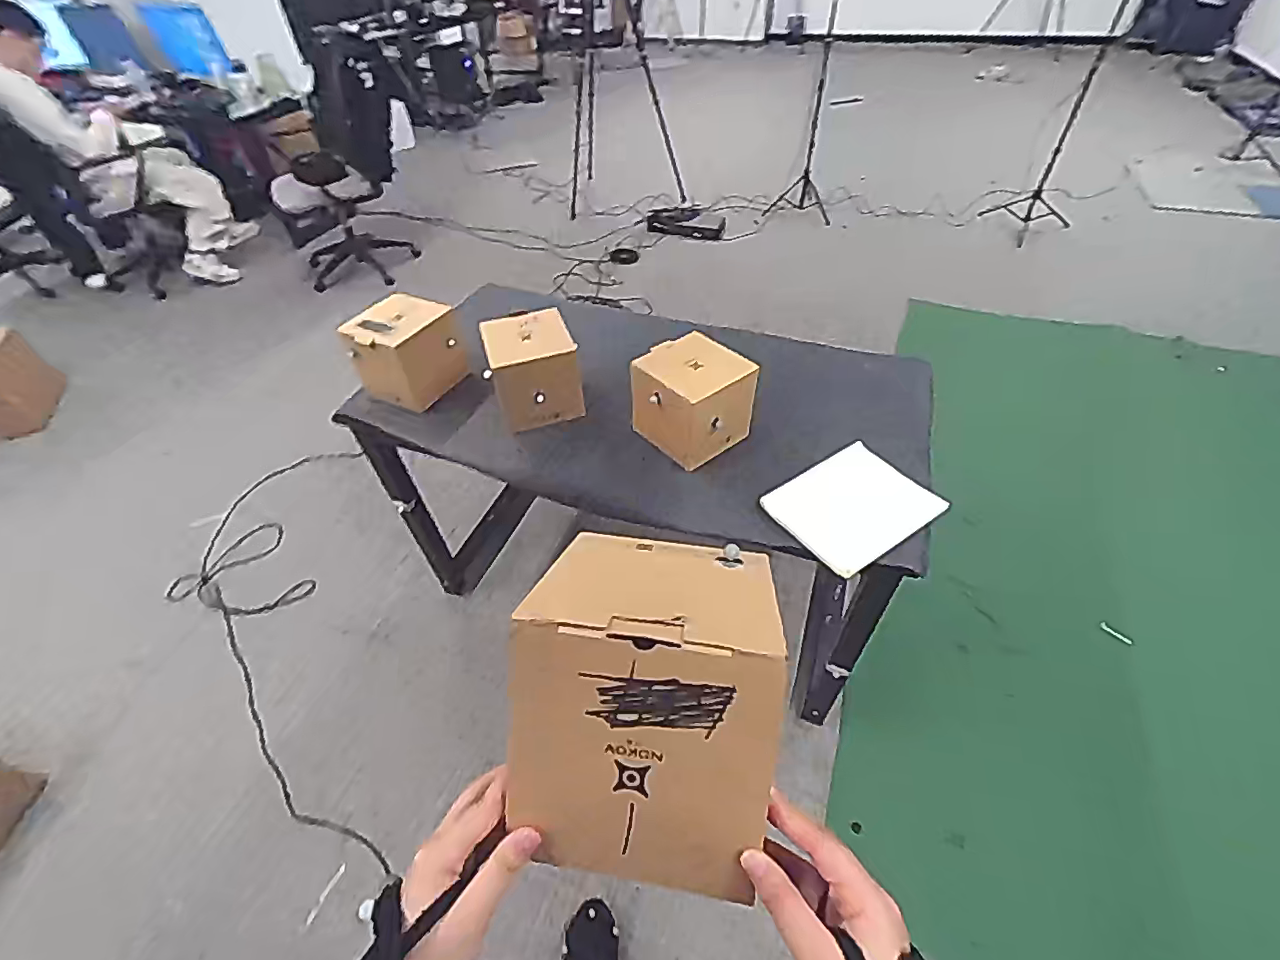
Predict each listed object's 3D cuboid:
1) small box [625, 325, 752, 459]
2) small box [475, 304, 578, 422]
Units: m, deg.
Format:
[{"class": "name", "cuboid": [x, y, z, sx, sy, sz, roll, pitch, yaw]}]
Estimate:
[{"class": "small box", "cuboid": [0.092, -0.164, 1.044, 0.168, 0.176, 0.179, -32, 52, -25]}, {"class": "small box", "cuboid": [-0.233, -0.238, 1.129, 0.168, 0.176, 0.179, -16, 48, -12]}]
